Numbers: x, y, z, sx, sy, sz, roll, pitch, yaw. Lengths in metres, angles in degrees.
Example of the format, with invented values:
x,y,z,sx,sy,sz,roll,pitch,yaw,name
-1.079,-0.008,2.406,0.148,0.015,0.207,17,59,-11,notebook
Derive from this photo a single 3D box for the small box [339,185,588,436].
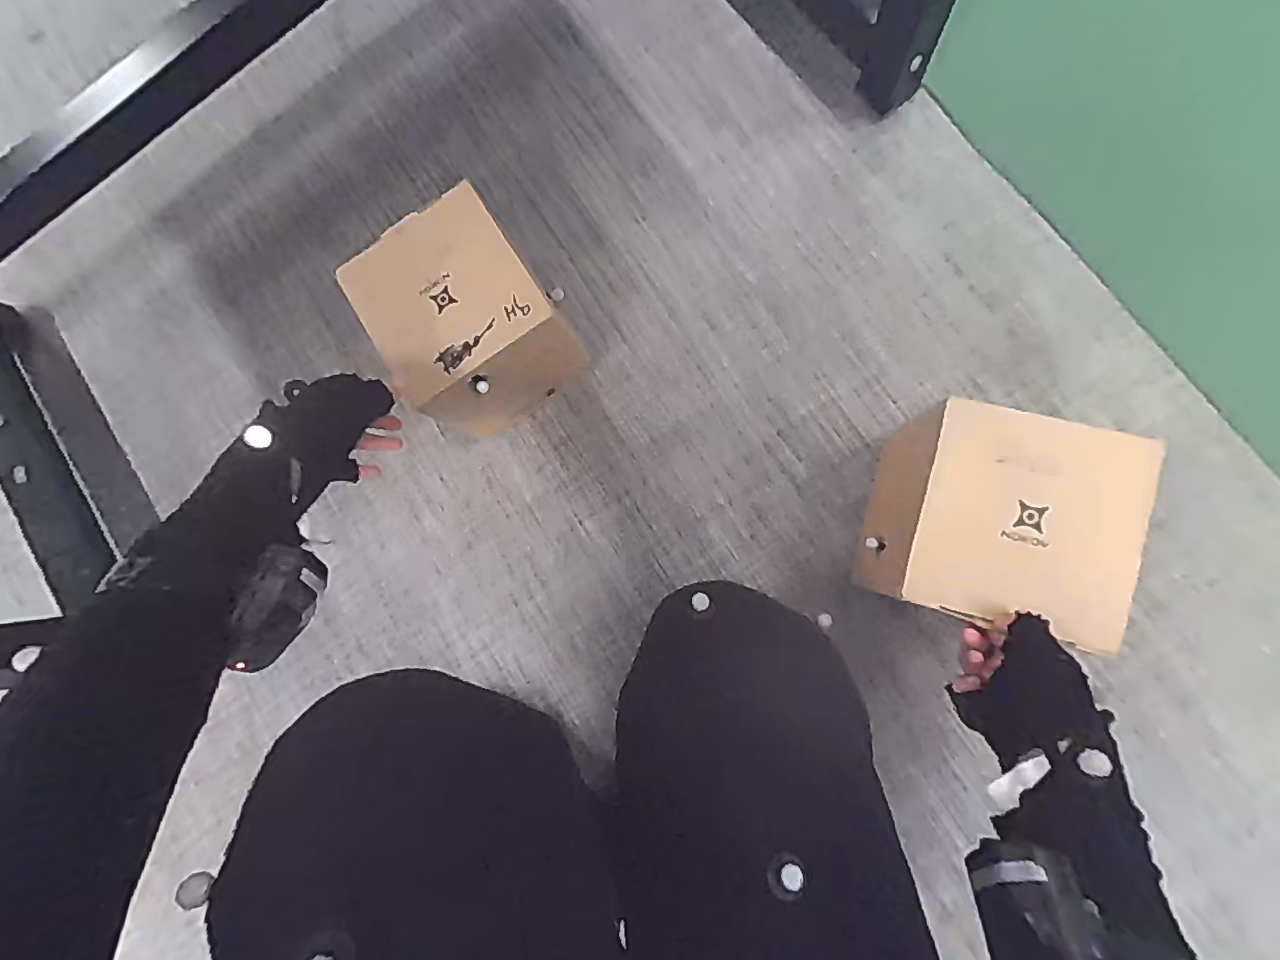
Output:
x,y,z,sx,sy,sz,roll,pitch,yaw,name
-0.182,-0.172,0.605,0.168,0.176,0.179,-33,79,5,small box
